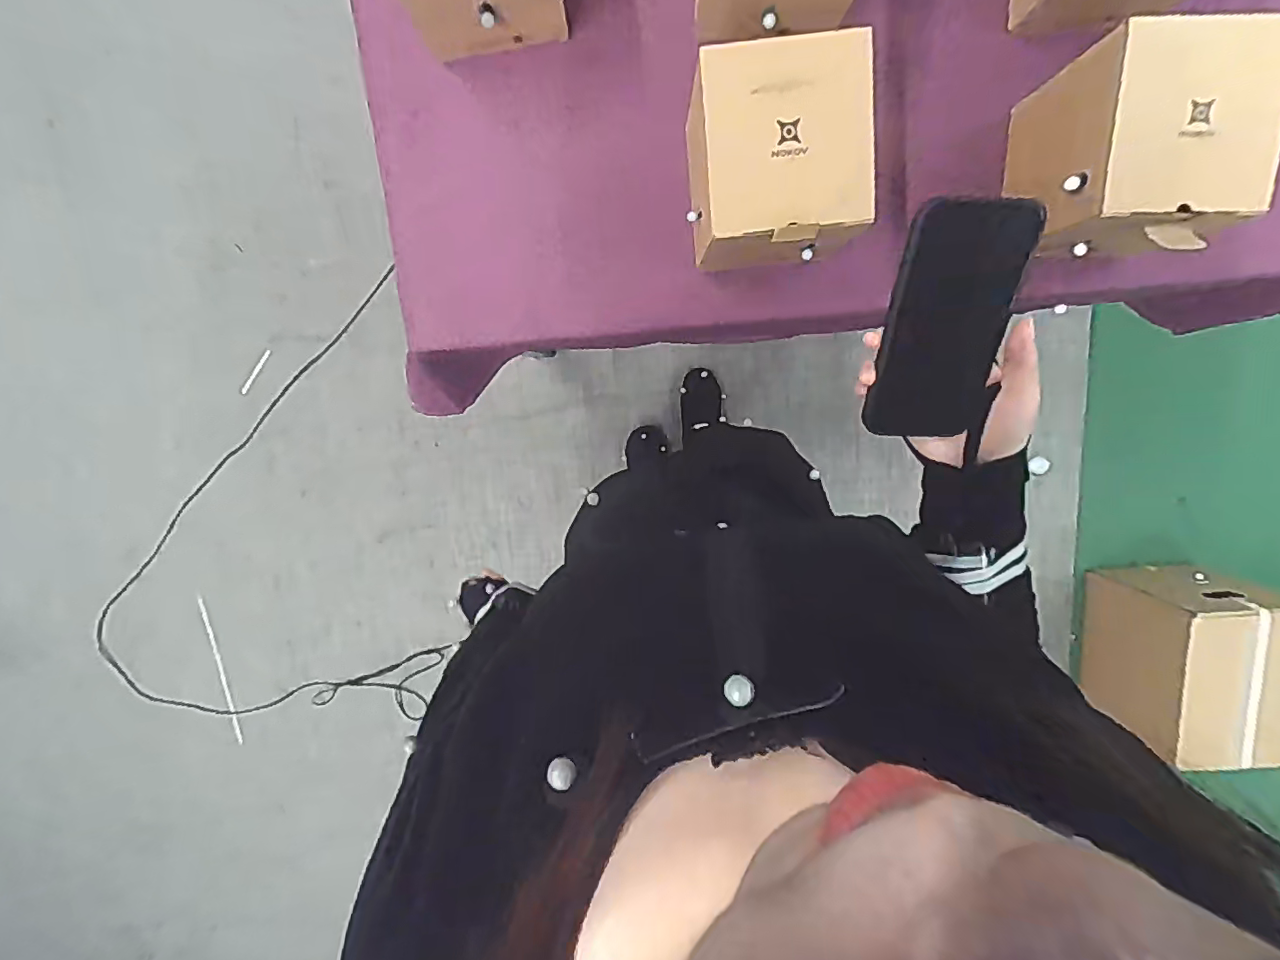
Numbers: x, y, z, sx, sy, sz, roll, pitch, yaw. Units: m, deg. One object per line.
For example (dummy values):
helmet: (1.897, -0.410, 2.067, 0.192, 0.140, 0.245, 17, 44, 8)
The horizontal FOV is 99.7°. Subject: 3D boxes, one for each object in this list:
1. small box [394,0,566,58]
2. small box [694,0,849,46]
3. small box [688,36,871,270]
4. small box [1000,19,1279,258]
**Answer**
small box: (-0.181, -0.585, 0.568, 0.168, 0.176, 0.179, -9, 101, 2)
small box: (0.146, -0.596, 0.560, 0.168, 0.176, 0.179, 2, 101, 1)
small box: (0.145, -0.343, 0.607, 0.168, 0.176, 0.179, -5, 99, 2)
small box: (0.534, -0.356, 0.596, 0.168, 0.176, 0.179, 0, 101, 1)
